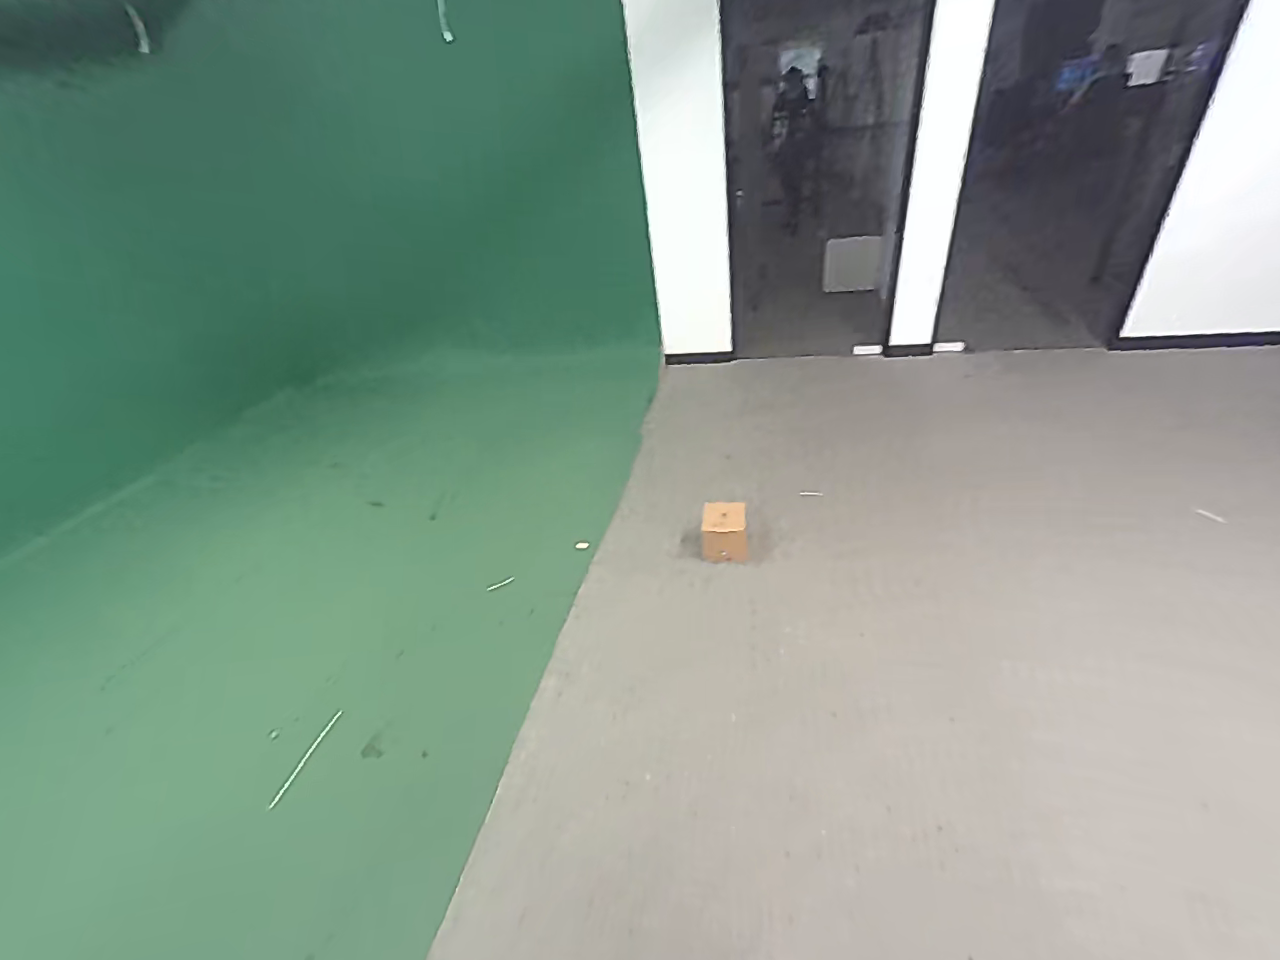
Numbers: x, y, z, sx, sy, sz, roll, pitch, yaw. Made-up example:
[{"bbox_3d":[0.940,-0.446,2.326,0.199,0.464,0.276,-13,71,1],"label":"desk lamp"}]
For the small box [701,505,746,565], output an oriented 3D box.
[{"bbox_3d":[0.337,0.216,2.153,0.168,0.176,0.179,-1,35,12],"label":"small box"}]
